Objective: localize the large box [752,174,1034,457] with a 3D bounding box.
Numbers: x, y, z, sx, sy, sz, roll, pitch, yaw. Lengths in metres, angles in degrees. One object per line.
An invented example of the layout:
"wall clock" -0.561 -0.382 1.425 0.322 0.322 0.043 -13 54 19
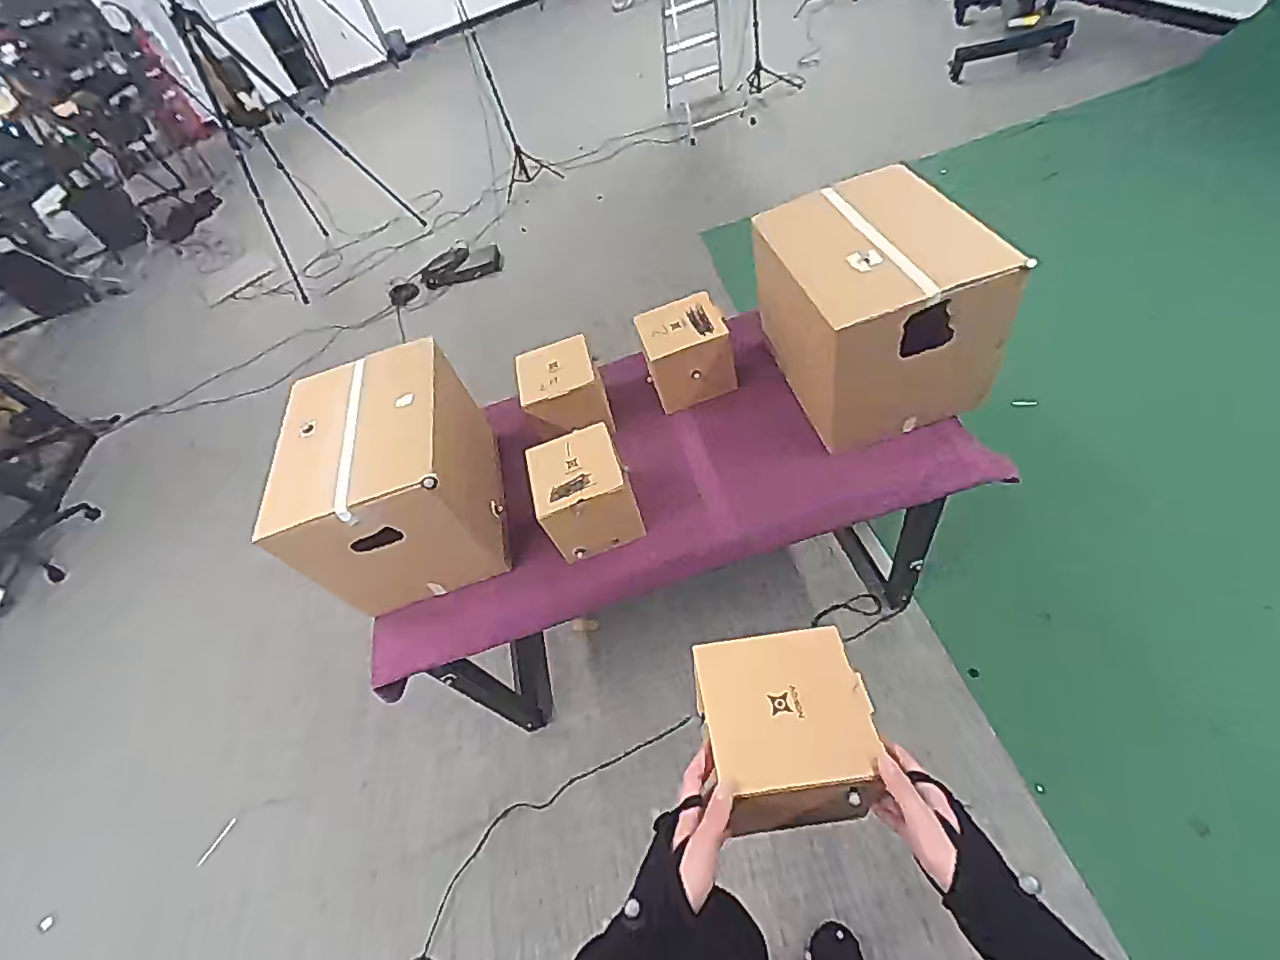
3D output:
"large box" 0.443 -0.322 1.061 0.320 0.320 0.408 -19 51 4

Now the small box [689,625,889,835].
"small box" 0.160 0.297 0.638 0.179 0.176 0.168 -8 44 -1
